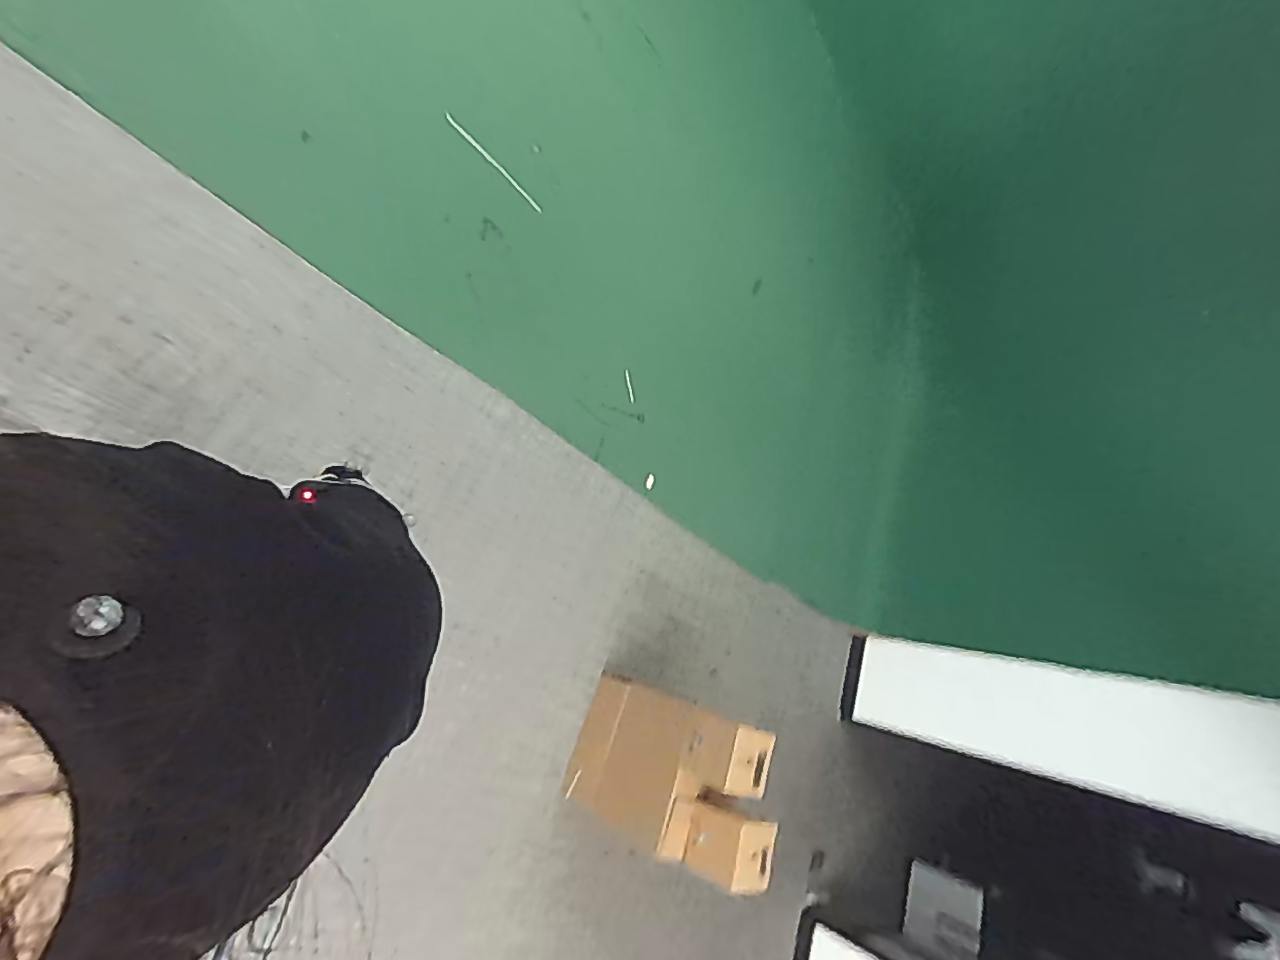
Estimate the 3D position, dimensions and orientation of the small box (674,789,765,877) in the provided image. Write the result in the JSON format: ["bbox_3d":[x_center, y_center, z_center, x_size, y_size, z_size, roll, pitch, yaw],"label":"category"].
[{"bbox_3d":[0.228,1.009,1.554,0.179,0.176,0.168,31,66,-37],"label":"small box"}]
